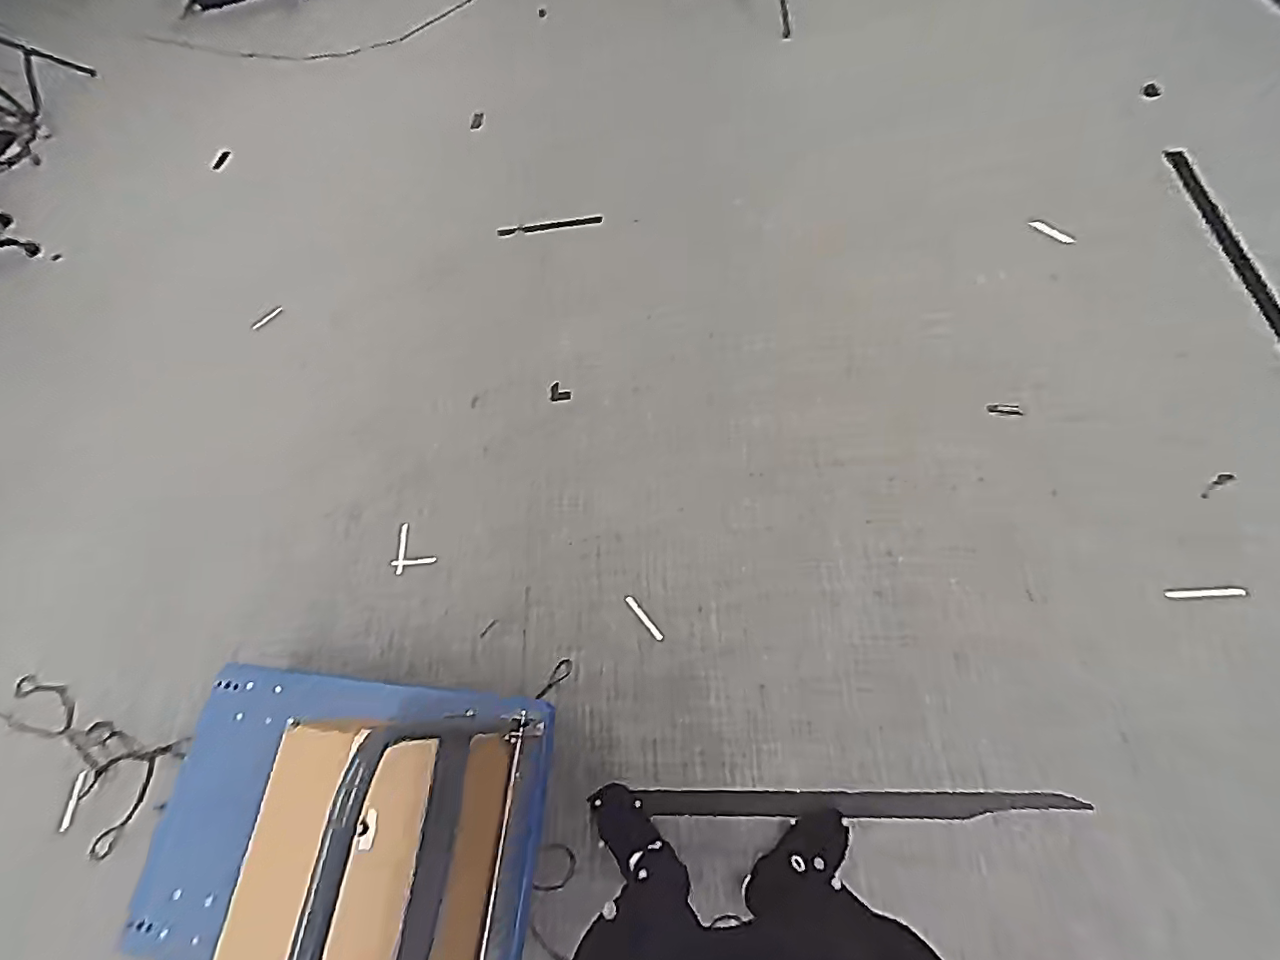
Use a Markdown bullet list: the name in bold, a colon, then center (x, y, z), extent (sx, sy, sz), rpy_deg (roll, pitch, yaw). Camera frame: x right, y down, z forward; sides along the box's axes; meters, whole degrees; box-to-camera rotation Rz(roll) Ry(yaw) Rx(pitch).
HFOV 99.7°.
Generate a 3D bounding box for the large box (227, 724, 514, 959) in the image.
- **large box**: center (-0.460, 0.686, 1.001), extent (0.320, 0.320, 0.408), rpy_deg (1, 66, 10)
